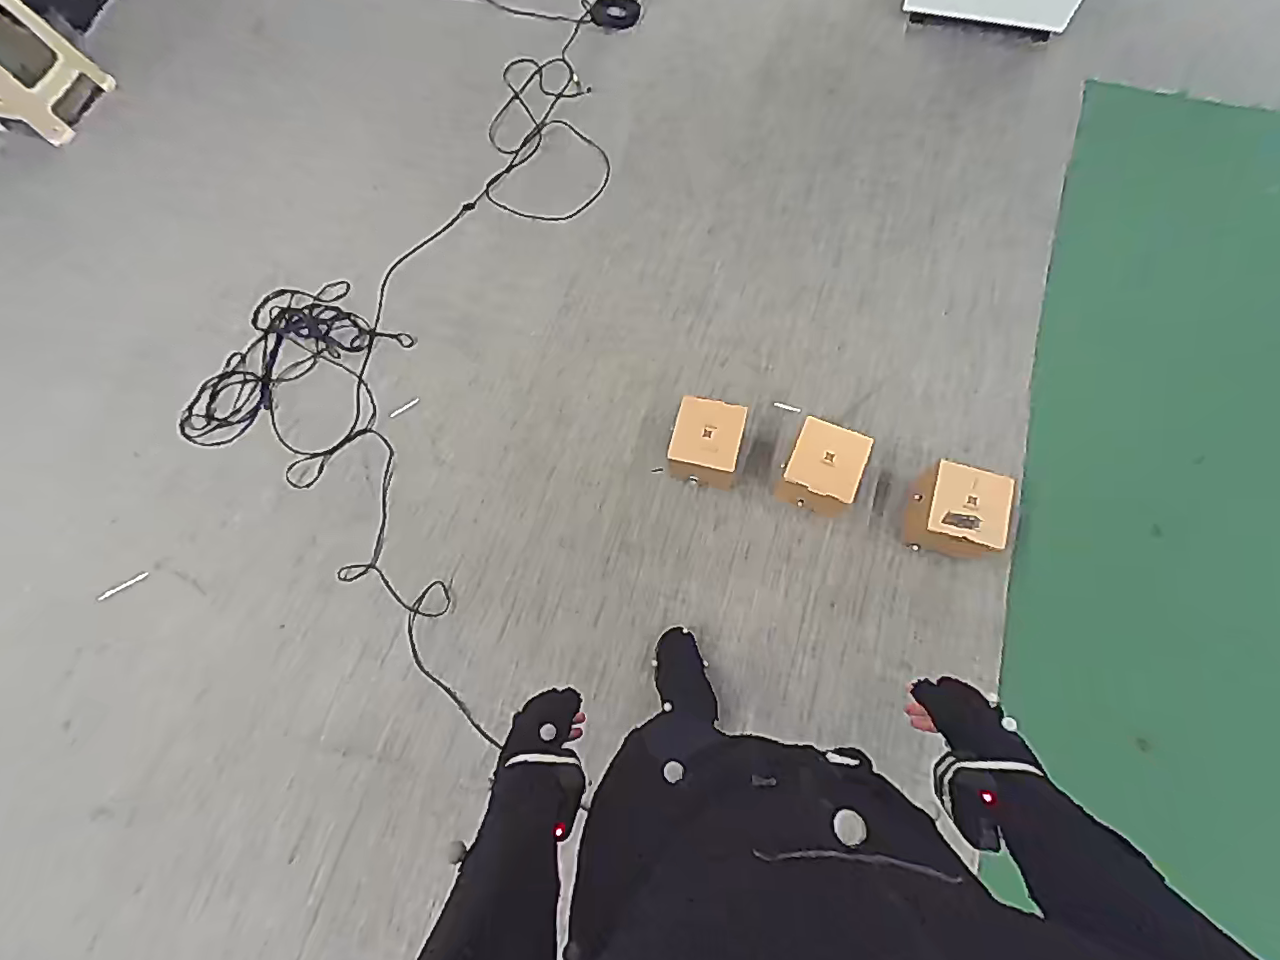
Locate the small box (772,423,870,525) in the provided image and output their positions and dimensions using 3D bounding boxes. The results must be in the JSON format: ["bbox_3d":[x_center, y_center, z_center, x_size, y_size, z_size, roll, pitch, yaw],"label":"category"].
[{"bbox_3d":[0.442,-0.009,1.349,0.168,0.176,0.179,22,75,10],"label":"small box"}]

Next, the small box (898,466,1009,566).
[{"bbox_3d":[0.740,0.094,1.293,0.168,0.176,0.179,17,73,9],"label":"small box"}]

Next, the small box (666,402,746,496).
[{"bbox_3d":[0.168,-0.075,1.389,0.168,0.176,0.179,12,75,10],"label":"small box"}]
